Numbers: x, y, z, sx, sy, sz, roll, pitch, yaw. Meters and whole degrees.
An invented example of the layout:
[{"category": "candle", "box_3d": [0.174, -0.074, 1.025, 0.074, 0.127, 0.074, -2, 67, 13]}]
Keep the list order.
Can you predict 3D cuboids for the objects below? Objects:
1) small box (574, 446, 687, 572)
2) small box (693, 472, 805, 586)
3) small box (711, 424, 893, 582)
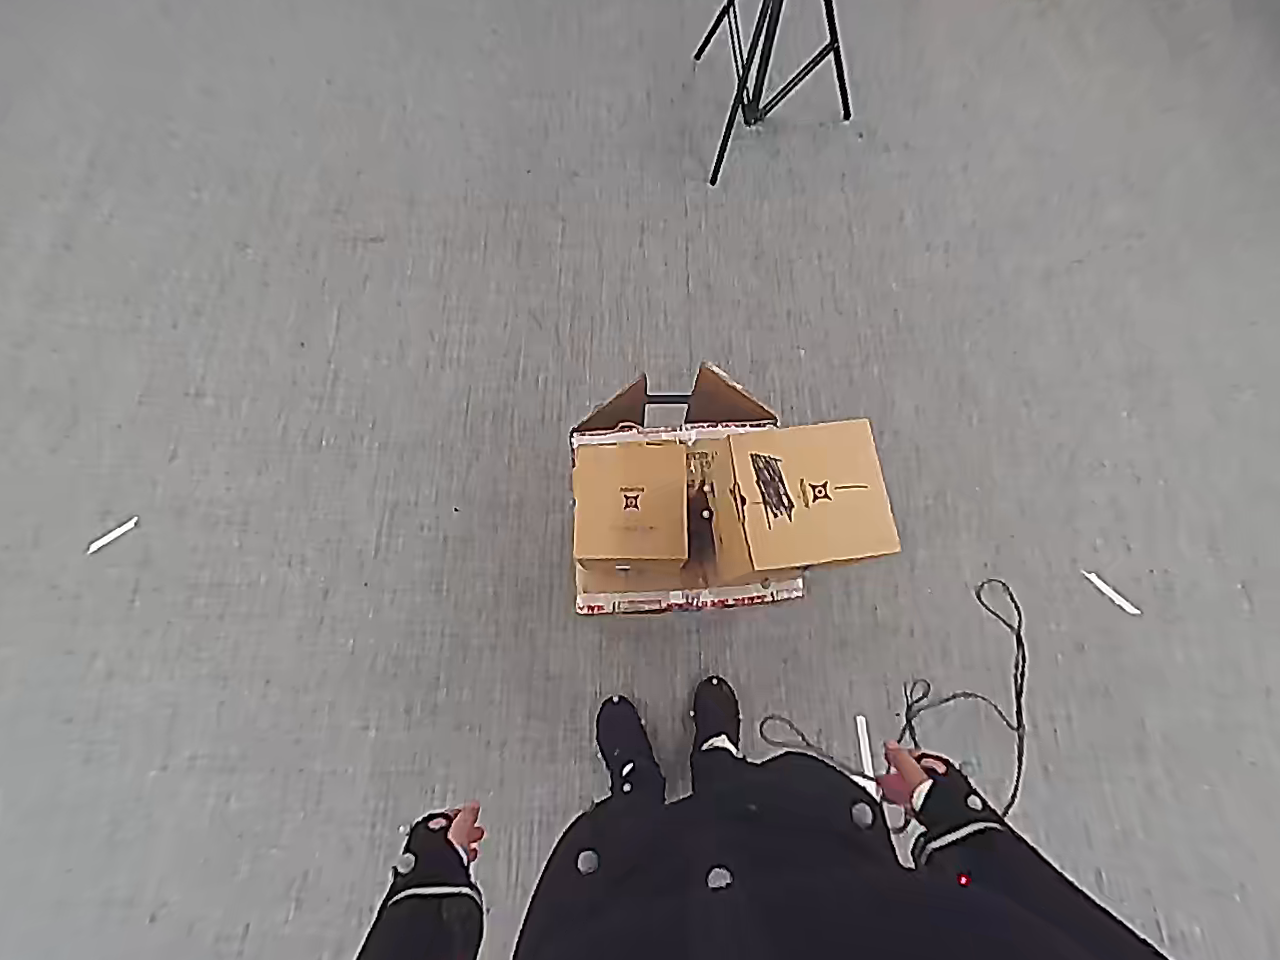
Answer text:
[{"category": "small box", "box_3d": [-0.014, 0.053, 0.877, 0.168, 0.176, 0.179, 0, 76, 1]}, {"category": "small box", "box_3d": [0.191, 0.077, 0.877, 0.179, 0.176, 0.168, -7, 76, -3]}, {"category": "small box", "box_3d": [0.195, 0.039, 0.714, 0.179, 0.176, 0.168, -7, 76, -4]}]
